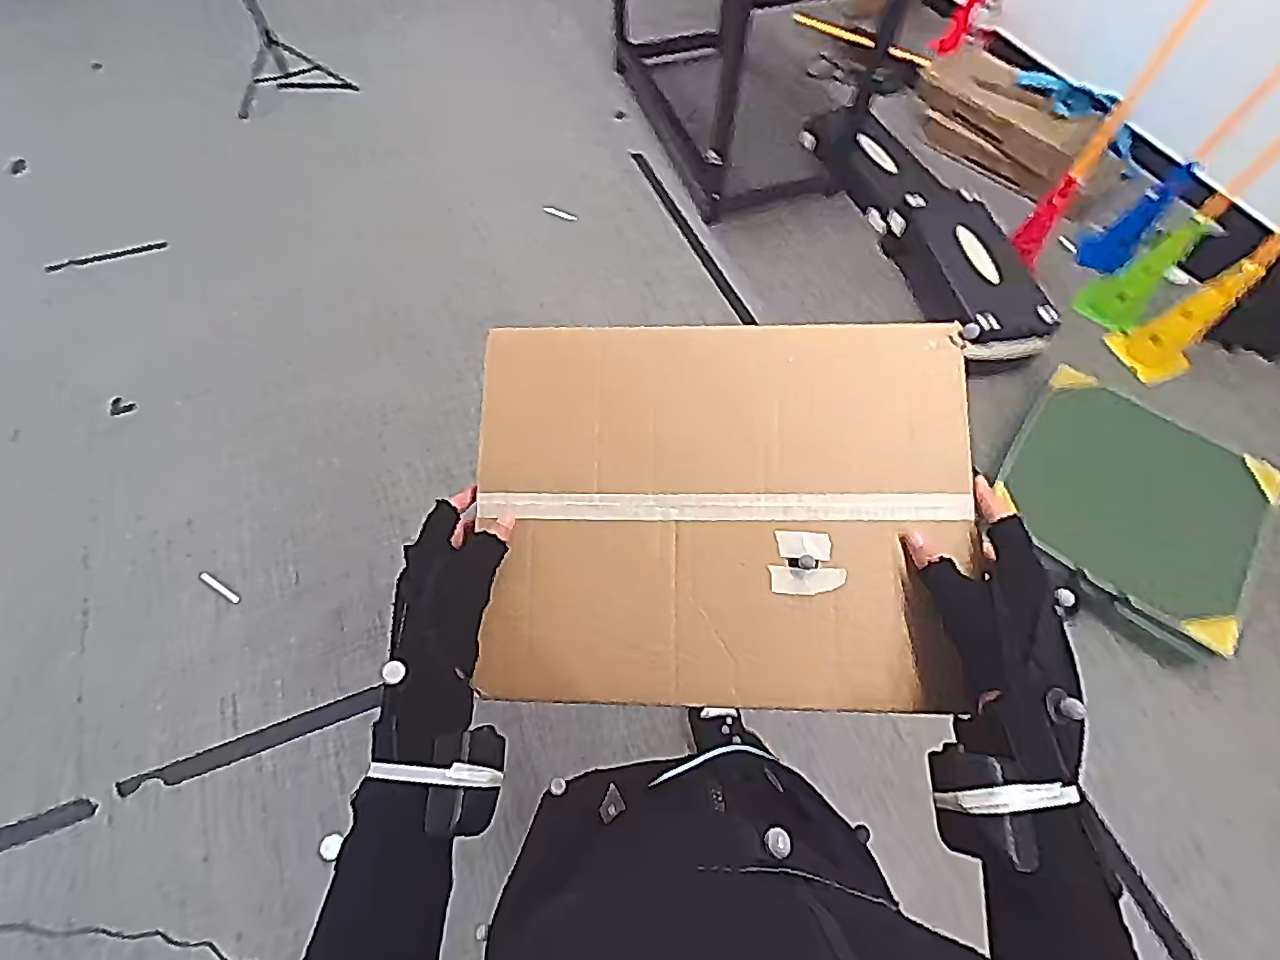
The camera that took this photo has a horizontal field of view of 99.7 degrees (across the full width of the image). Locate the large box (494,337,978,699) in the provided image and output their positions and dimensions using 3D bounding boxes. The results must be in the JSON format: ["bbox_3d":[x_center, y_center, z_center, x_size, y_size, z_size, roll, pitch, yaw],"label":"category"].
[{"bbox_3d":[0.079,0.050,0.612,0.408,0.320,0.320,0,82,3],"label":"large box"}]
